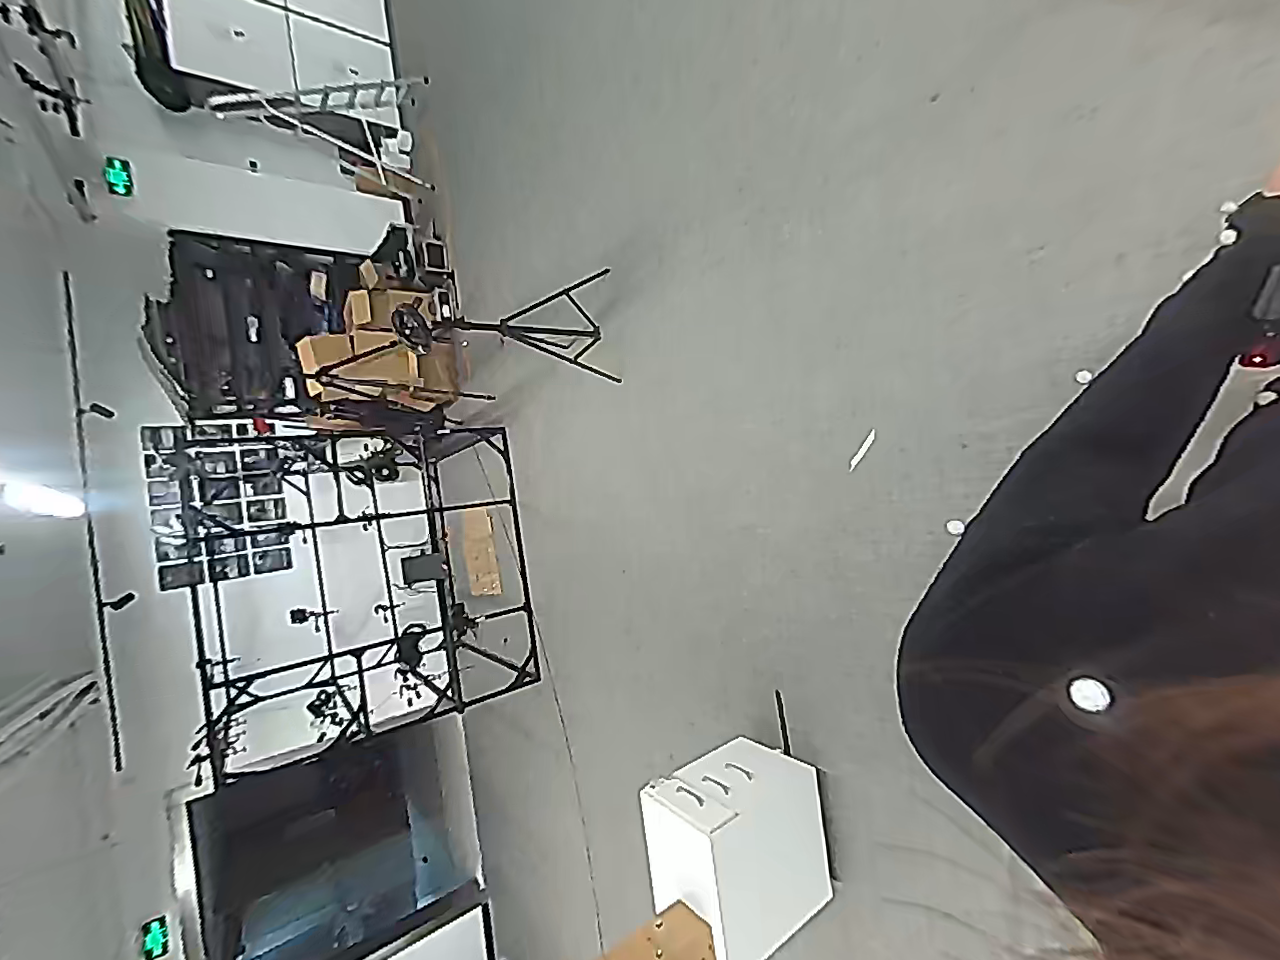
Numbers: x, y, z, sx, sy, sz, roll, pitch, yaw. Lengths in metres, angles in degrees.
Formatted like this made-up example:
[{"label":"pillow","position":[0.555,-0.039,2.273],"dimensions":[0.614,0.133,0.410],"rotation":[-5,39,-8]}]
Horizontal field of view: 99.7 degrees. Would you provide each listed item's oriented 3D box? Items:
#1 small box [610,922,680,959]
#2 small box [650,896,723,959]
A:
[{"label":"small box","position":[0.026,1.584,1.734],"dimensions":[0.168,0.176,0.179],"rotation":[-9,90,56]},{"label":"small box","position":[0.158,1.565,1.832],"dimensions":[0.179,0.176,0.168],"rotation":[-10,88,56]}]
